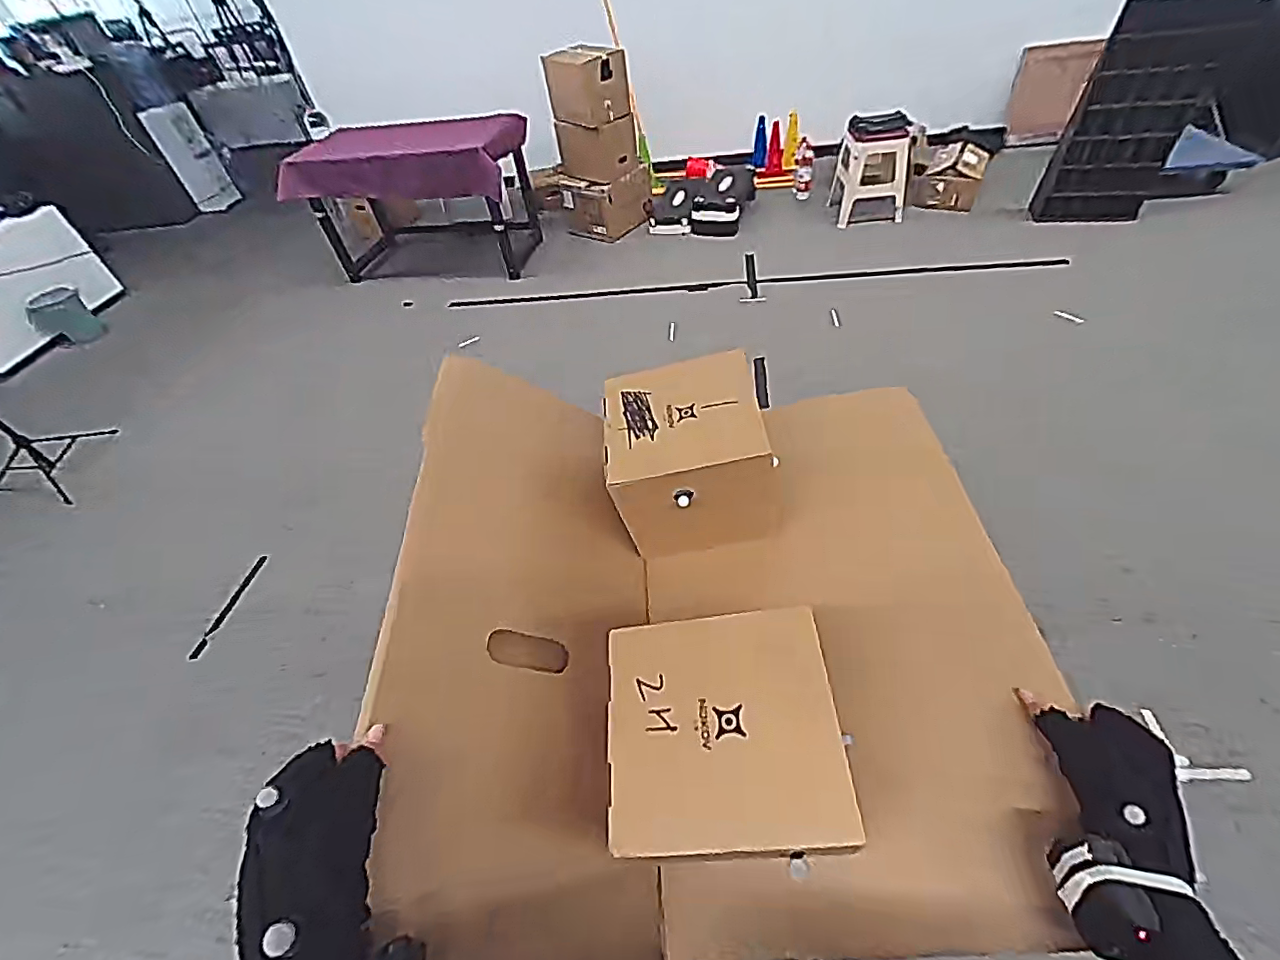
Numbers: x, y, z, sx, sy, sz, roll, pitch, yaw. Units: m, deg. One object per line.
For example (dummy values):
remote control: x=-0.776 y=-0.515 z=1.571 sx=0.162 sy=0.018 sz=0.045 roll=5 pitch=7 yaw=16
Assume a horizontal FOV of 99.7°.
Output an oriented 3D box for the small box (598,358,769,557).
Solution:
small box: x=0.056 y=-0.019 z=0.677 sx=0.179 sy=0.176 sz=0.168 roll=-11 pitch=52 yaw=8

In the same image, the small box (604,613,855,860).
small box: x=0.075 y=0.234 z=0.482 sx=0.179 sy=0.176 sz=0.168 roll=-10 pitch=52 yaw=10
